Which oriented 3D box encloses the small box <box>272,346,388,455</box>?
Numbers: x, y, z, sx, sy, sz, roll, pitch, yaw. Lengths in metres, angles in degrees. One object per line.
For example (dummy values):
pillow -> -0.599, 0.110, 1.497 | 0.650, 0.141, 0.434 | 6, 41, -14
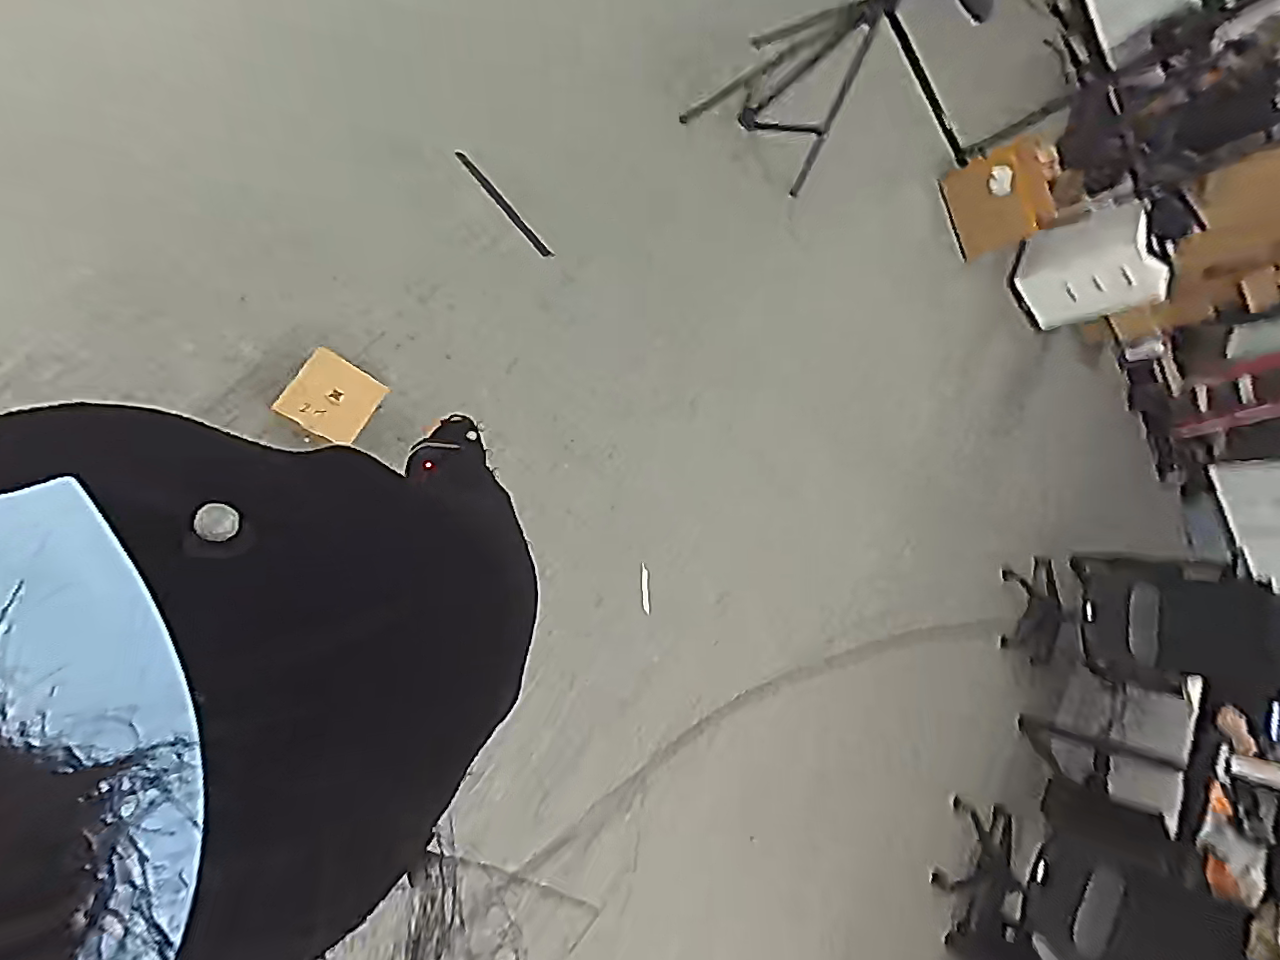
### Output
small box -> -0.723, -0.177, 1.260 | 0.168, 0.176, 0.179 | 36, 70, -25
